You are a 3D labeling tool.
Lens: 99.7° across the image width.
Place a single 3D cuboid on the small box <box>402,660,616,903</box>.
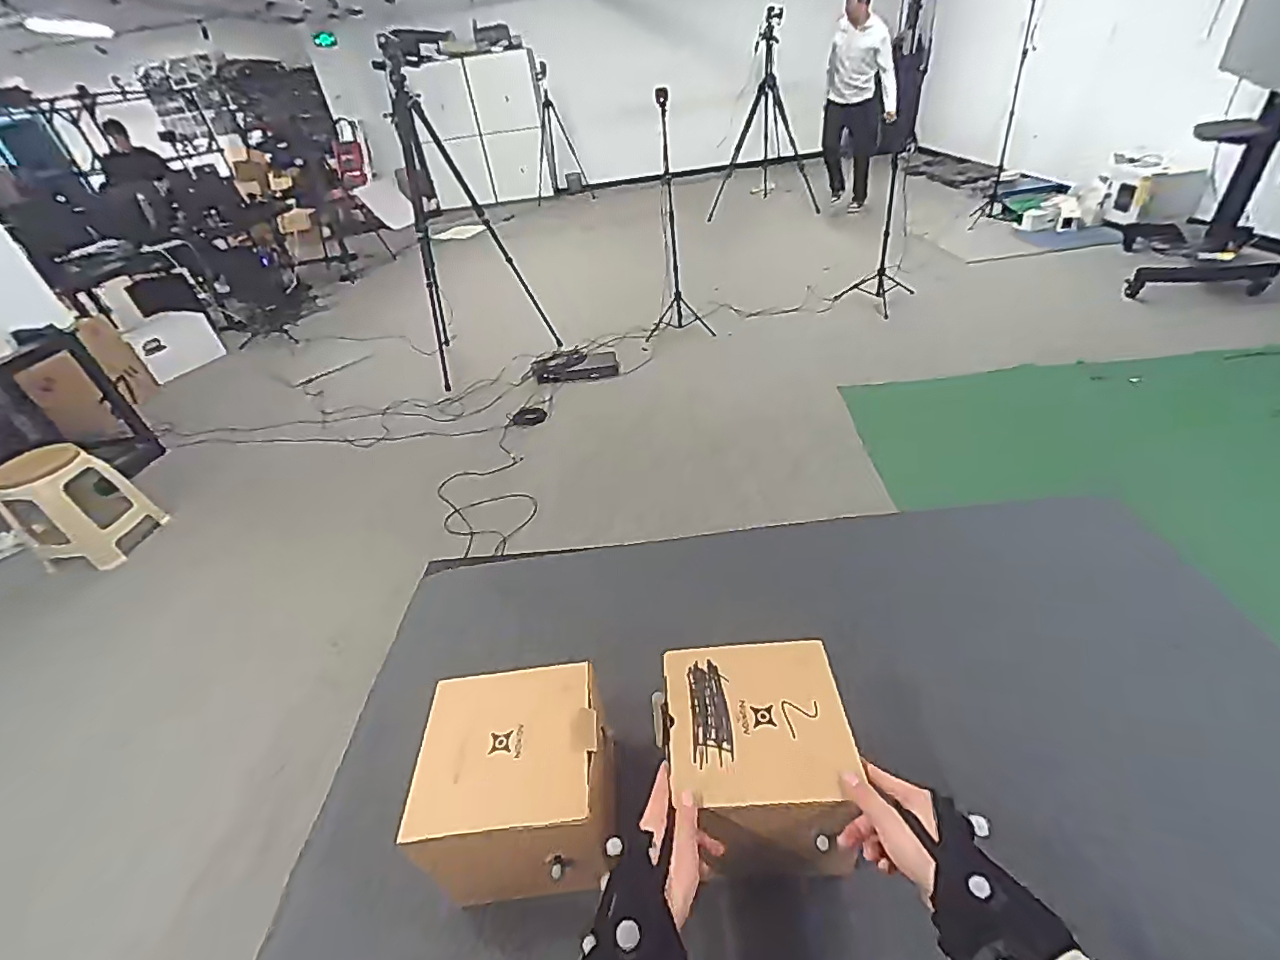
[{"bbox_3d":[-0.121,0.324,0.585,0.179,0.176,0.168,-9,35,0],"label":"small box"}]
